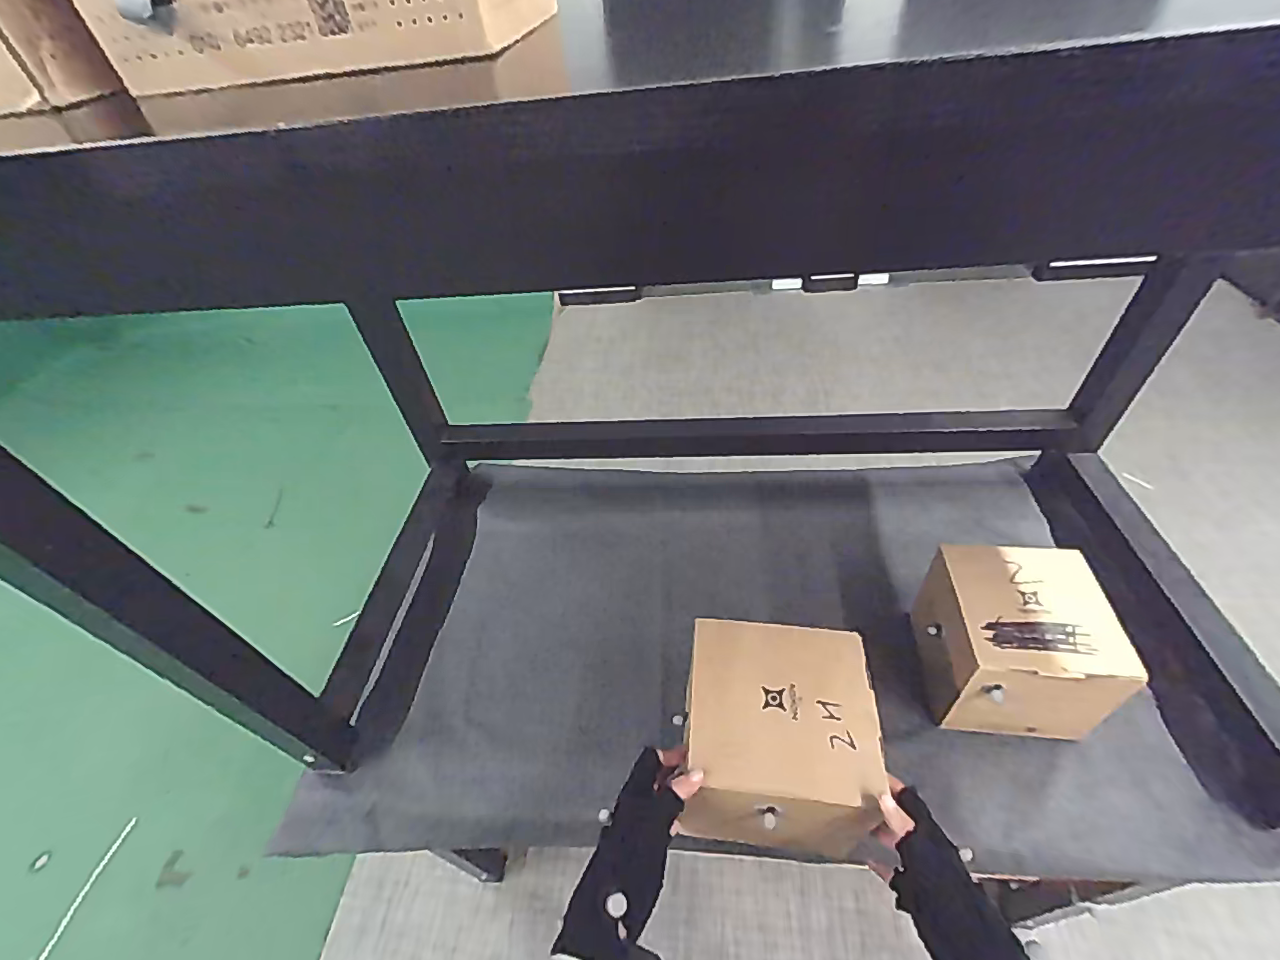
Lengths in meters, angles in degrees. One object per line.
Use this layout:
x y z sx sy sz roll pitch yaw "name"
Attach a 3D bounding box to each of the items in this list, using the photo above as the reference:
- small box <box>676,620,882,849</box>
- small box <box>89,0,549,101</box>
0.131 0.271 0.575 0.179 0.176 0.168 5 46 5 "small box"
-0.146 -0.282 0.236 0.168 0.176 0.179 -2 44 6 "small box"
